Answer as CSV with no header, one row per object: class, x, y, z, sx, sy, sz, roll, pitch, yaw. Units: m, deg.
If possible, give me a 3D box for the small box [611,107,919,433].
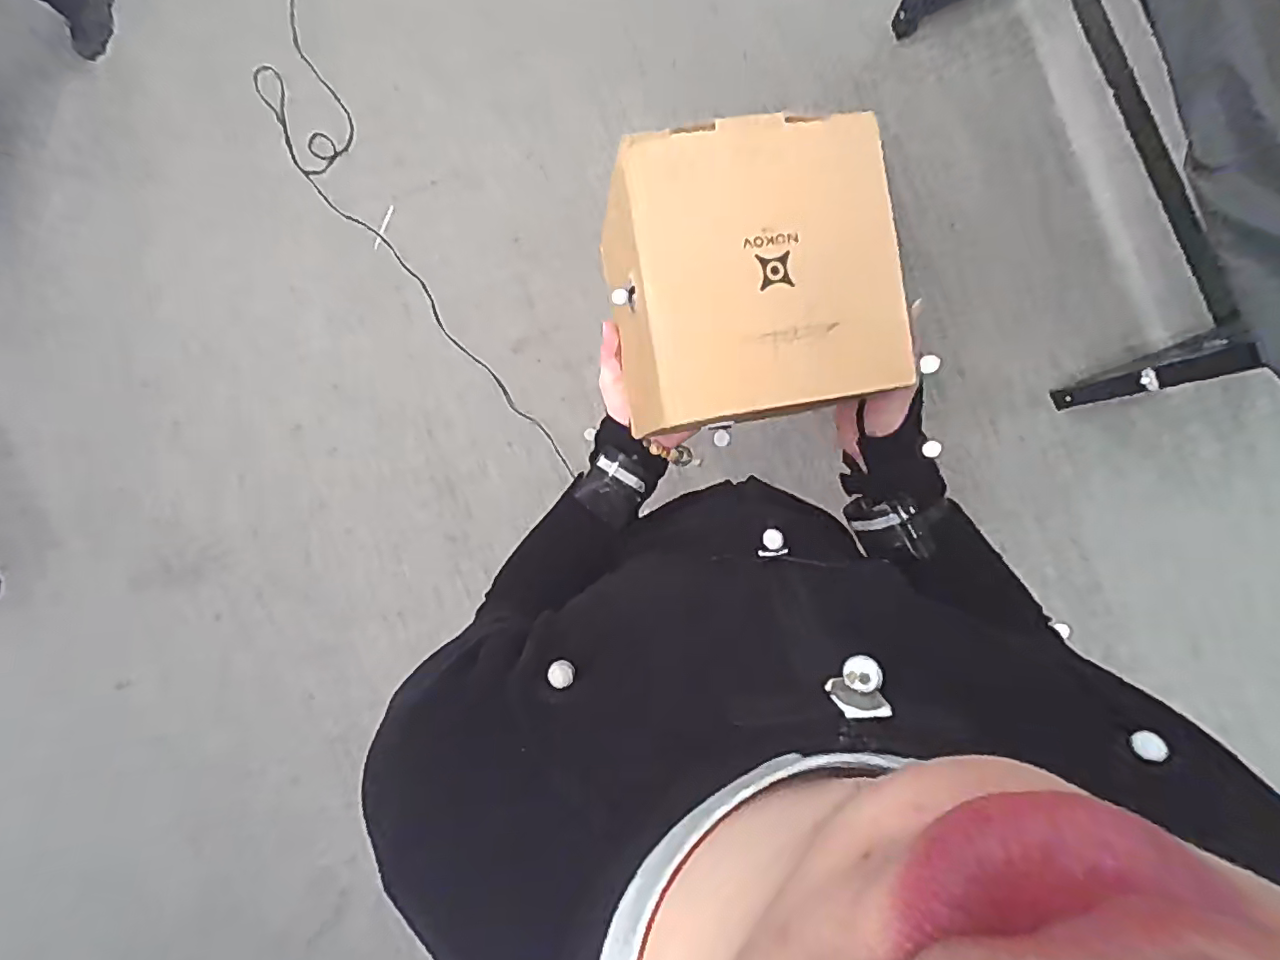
small box,0.075,-0.138,0.411,0.168,0.176,0.179,-10,92,-7
